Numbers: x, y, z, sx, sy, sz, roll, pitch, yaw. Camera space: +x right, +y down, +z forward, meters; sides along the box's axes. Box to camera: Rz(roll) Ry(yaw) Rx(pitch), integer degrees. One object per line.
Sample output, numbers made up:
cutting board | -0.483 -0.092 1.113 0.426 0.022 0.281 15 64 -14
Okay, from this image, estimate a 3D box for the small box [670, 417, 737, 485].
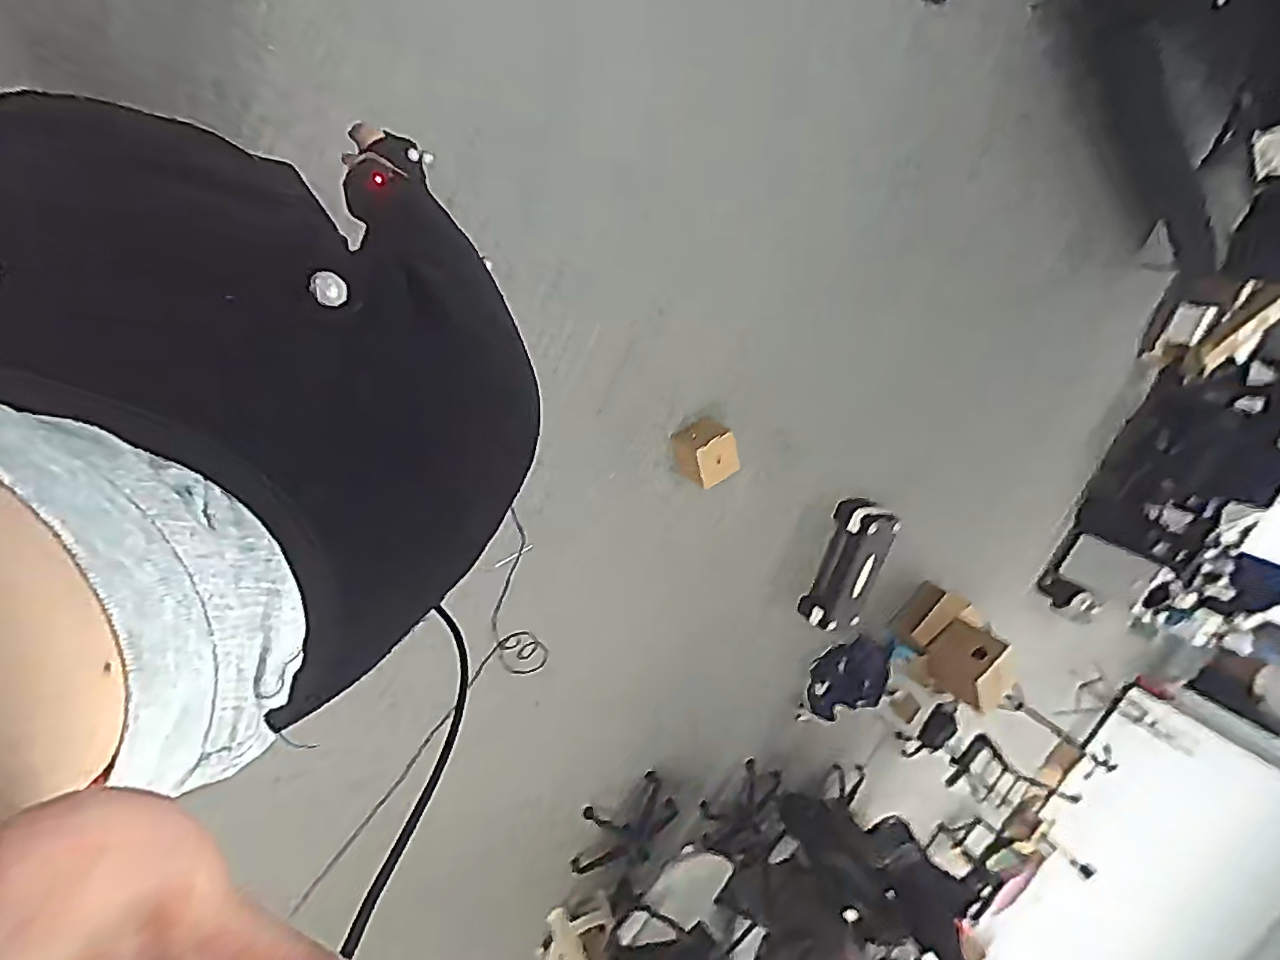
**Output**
small box | 0.232 -0.118 2.007 0.168 0.176 0.179 -31 127 -16
